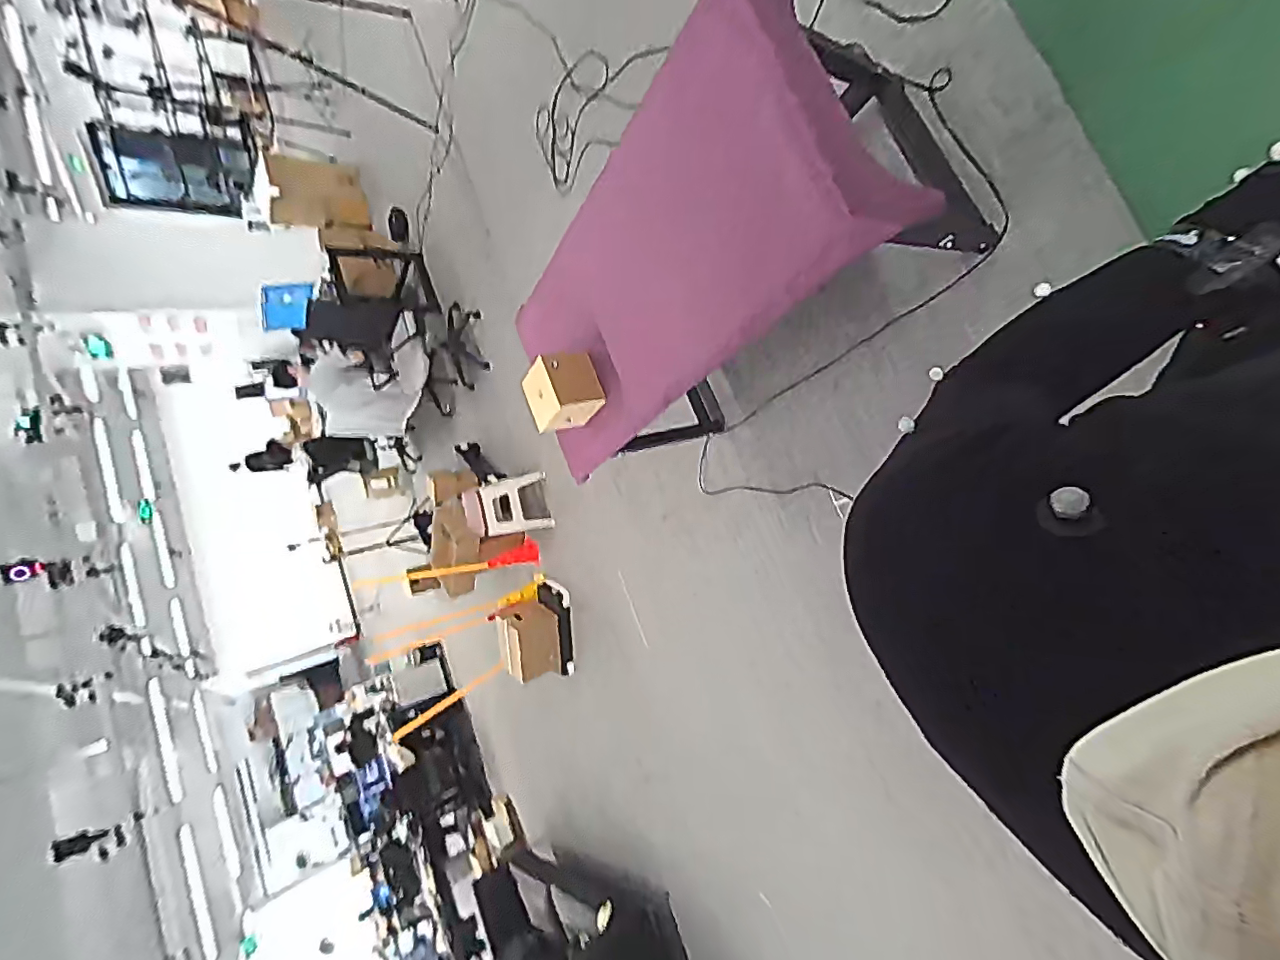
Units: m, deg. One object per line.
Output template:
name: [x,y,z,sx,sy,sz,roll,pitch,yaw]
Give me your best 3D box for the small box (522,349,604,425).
small box: [-0.235,-0.289,1.659,0.168,0.176,0.179,-36,72,51]
